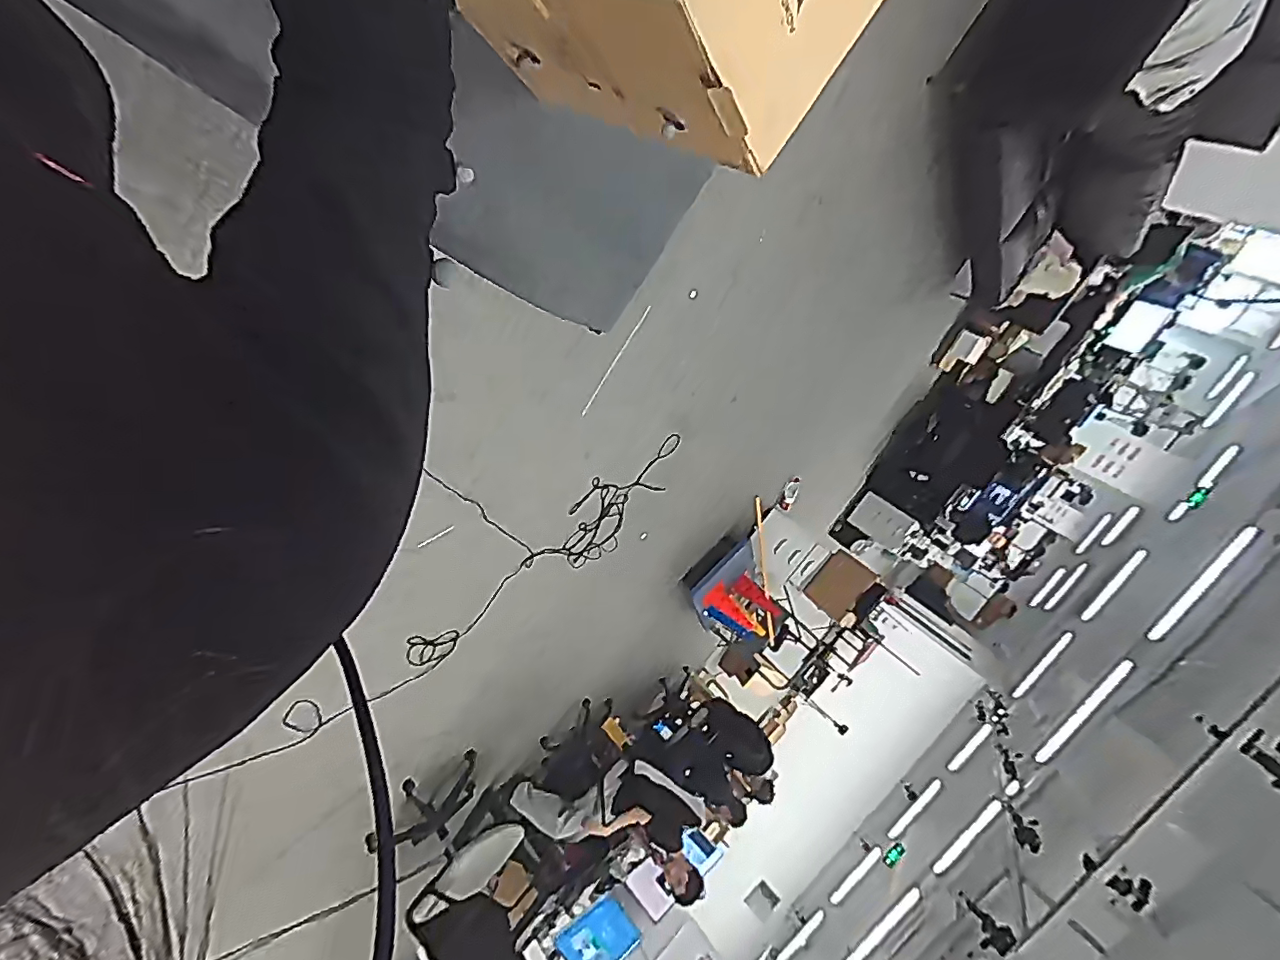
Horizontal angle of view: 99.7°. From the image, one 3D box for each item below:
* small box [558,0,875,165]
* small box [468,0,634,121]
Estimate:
[{"bbox_3d":[0.055,-0.389,0.411,0.179,0.176,0.168,-56,149,8],"label":"small box"},{"bbox_3d":[-0.055,-0.479,0.491,0.179,0.176,0.168,-56,149,11],"label":"small box"}]
